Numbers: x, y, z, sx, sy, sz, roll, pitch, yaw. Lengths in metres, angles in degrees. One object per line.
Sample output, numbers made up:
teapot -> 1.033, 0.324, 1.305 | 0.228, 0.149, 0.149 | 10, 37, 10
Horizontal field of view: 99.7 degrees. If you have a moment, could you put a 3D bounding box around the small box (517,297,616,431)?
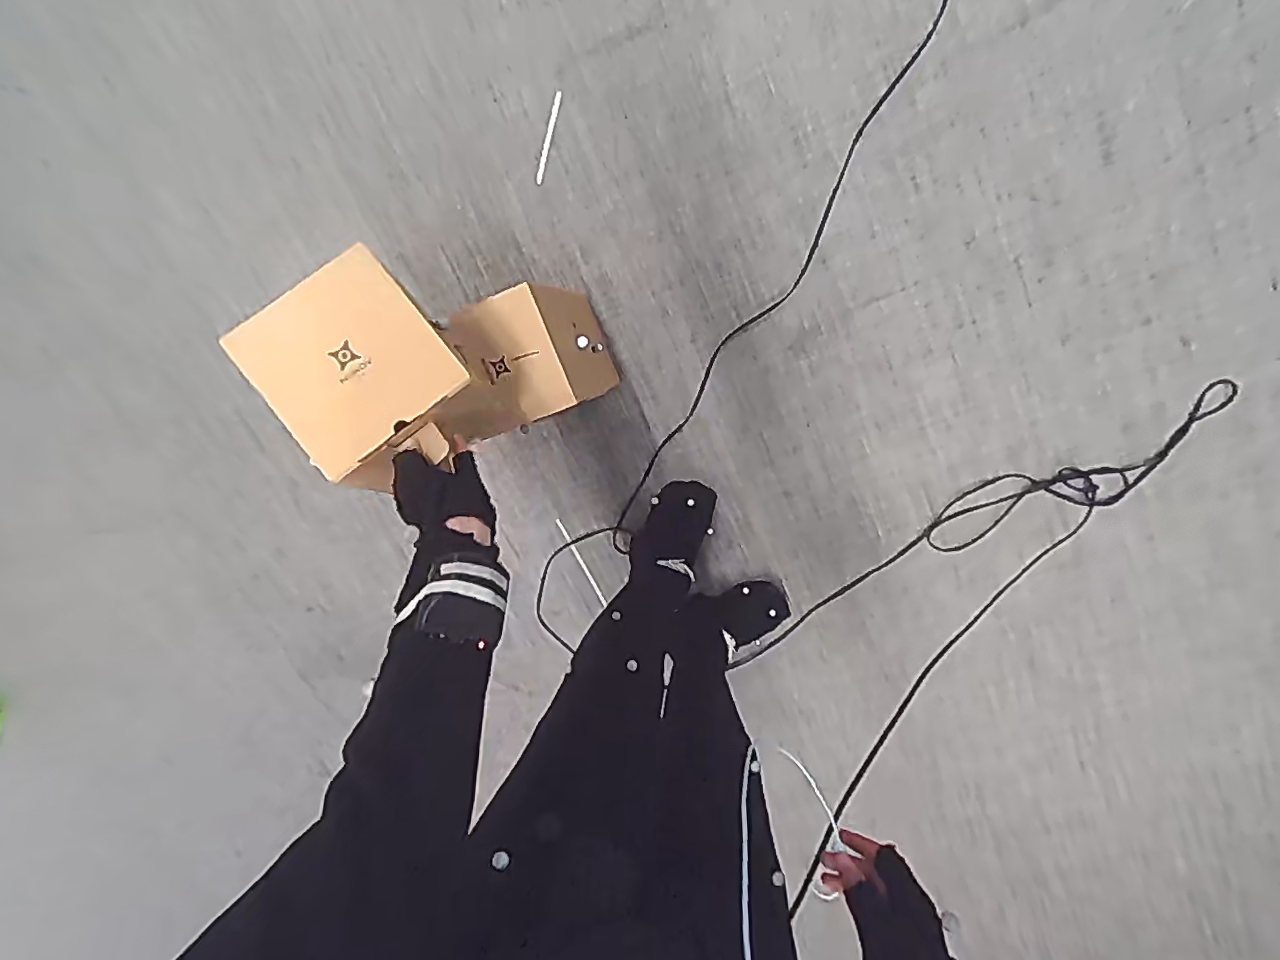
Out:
small box -> -0.154, -0.208, 0.943 | 0.168, 0.176, 0.179 | -20, 104, 13

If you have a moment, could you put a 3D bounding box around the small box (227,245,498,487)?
small box -> -0.279, -0.107, 0.590 | 0.168, 0.176, 0.179 | -37, 90, -7

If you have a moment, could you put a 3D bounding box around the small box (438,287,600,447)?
small box -> -0.178, -0.165, 0.785 | 0.179, 0.176, 0.168 | -19, 104, 13
